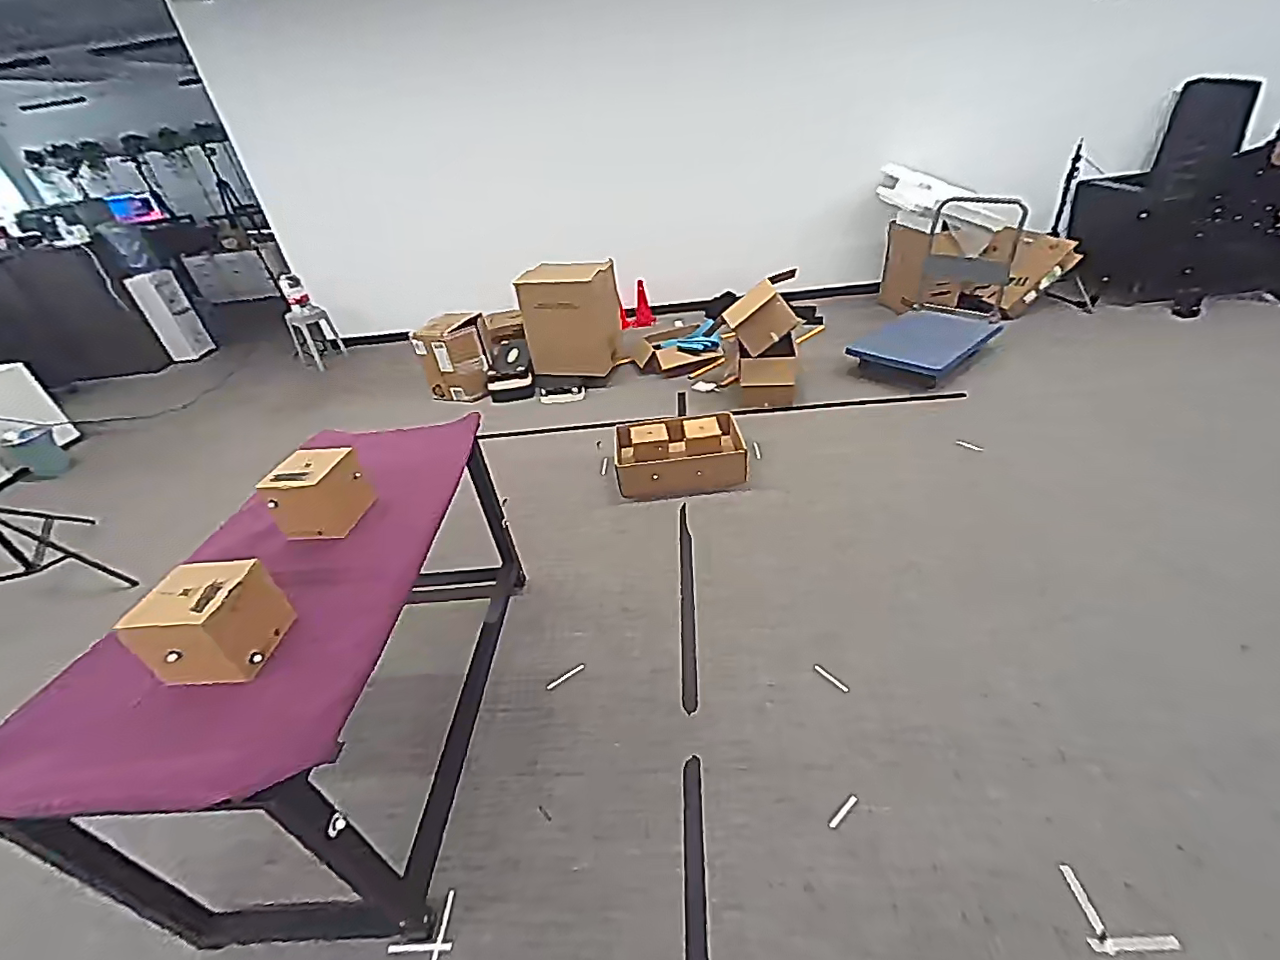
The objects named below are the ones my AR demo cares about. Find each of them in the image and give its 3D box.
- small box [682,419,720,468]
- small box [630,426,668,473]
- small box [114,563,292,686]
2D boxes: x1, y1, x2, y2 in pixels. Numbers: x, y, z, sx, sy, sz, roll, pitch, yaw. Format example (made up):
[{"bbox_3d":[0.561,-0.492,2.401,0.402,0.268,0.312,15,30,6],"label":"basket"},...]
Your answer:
[{"bbox_3d":[0.304,-0.181,2.694,0.168,0.176,0.179,-8,35,2],"label":"small box"},{"bbox_3d":[0.046,-0.151,2.699,0.179,0.176,0.168,-7,33,-1],"label":"small box"},{"bbox_3d":[-0.831,0.282,1.054,0.179,0.176,0.168,-5,34,5],"label":"small box"}]
